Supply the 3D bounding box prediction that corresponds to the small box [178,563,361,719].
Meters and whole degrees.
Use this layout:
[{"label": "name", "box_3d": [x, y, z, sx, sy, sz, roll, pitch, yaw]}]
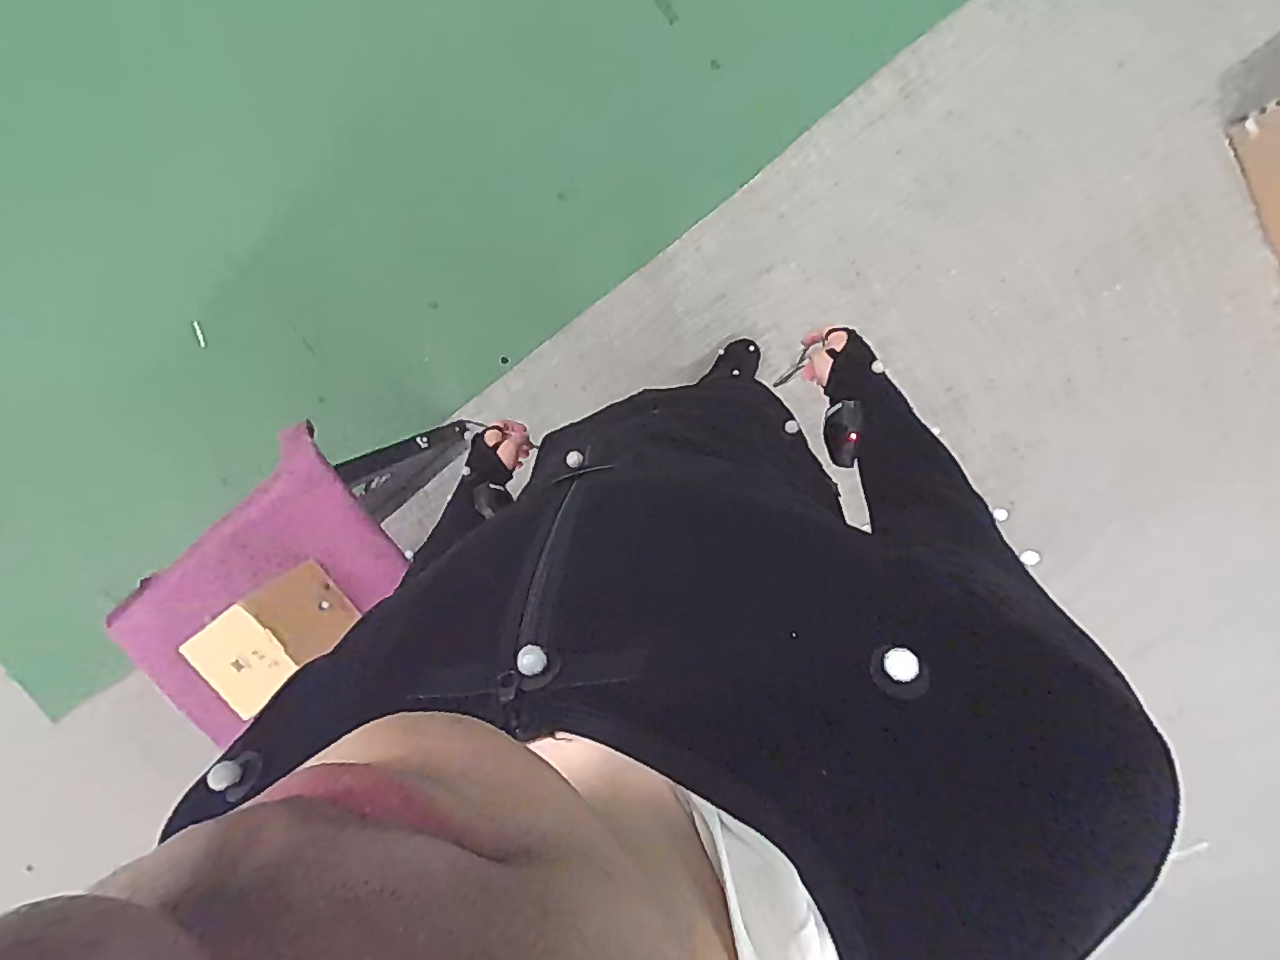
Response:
[{"label": "small box", "box_3d": [-0.649, 0.280, 0.969, 0.179, 0.176, 0.168, -33, 100, 16]}]
